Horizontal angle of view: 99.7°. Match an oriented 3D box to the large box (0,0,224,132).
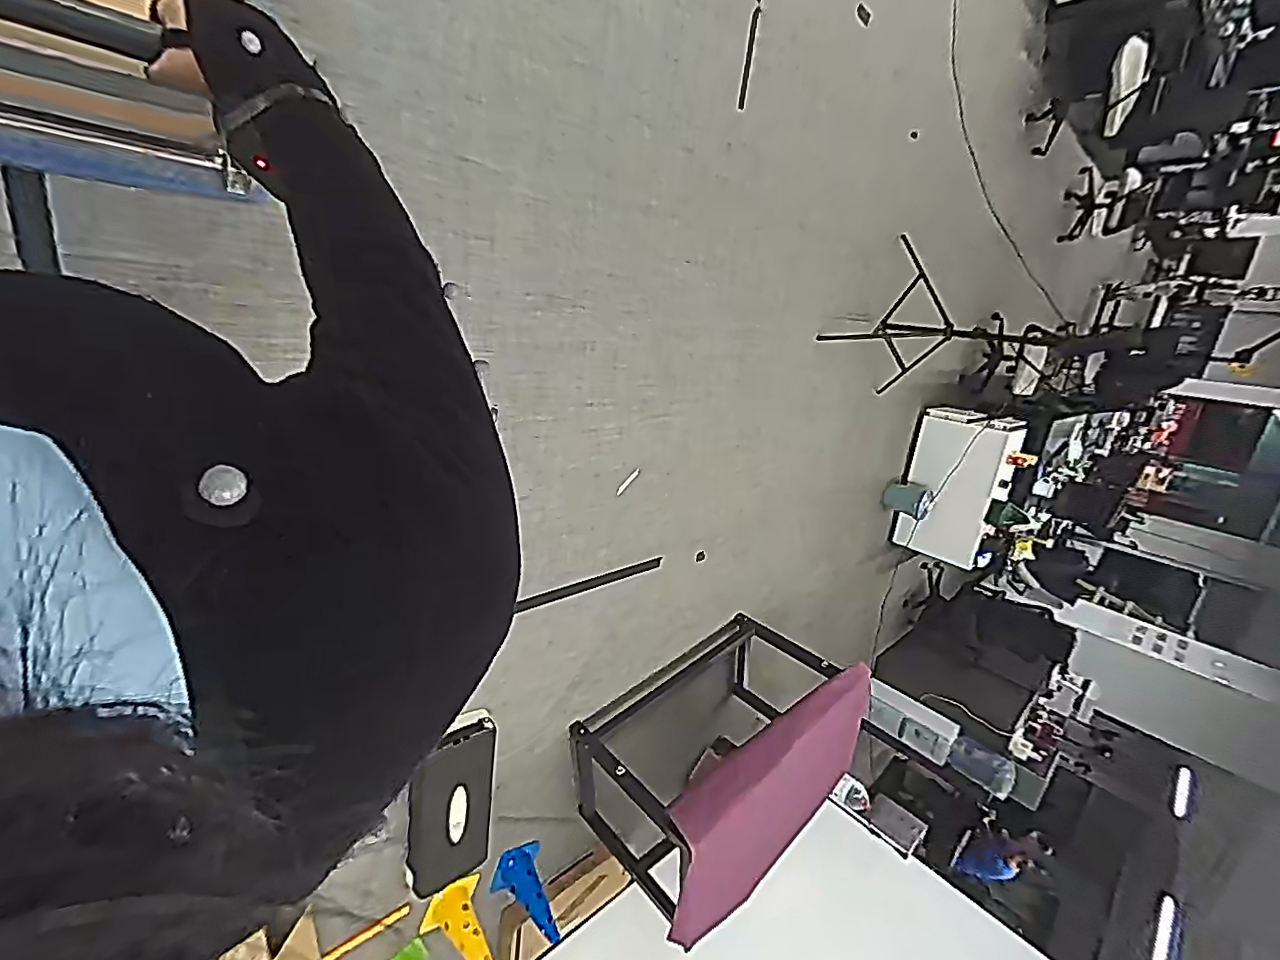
[{"bbox_3d":[-0.807,-0.686,0.673,0.408,0.320,0.320,-9,113,-42],"label":"large box"}]
